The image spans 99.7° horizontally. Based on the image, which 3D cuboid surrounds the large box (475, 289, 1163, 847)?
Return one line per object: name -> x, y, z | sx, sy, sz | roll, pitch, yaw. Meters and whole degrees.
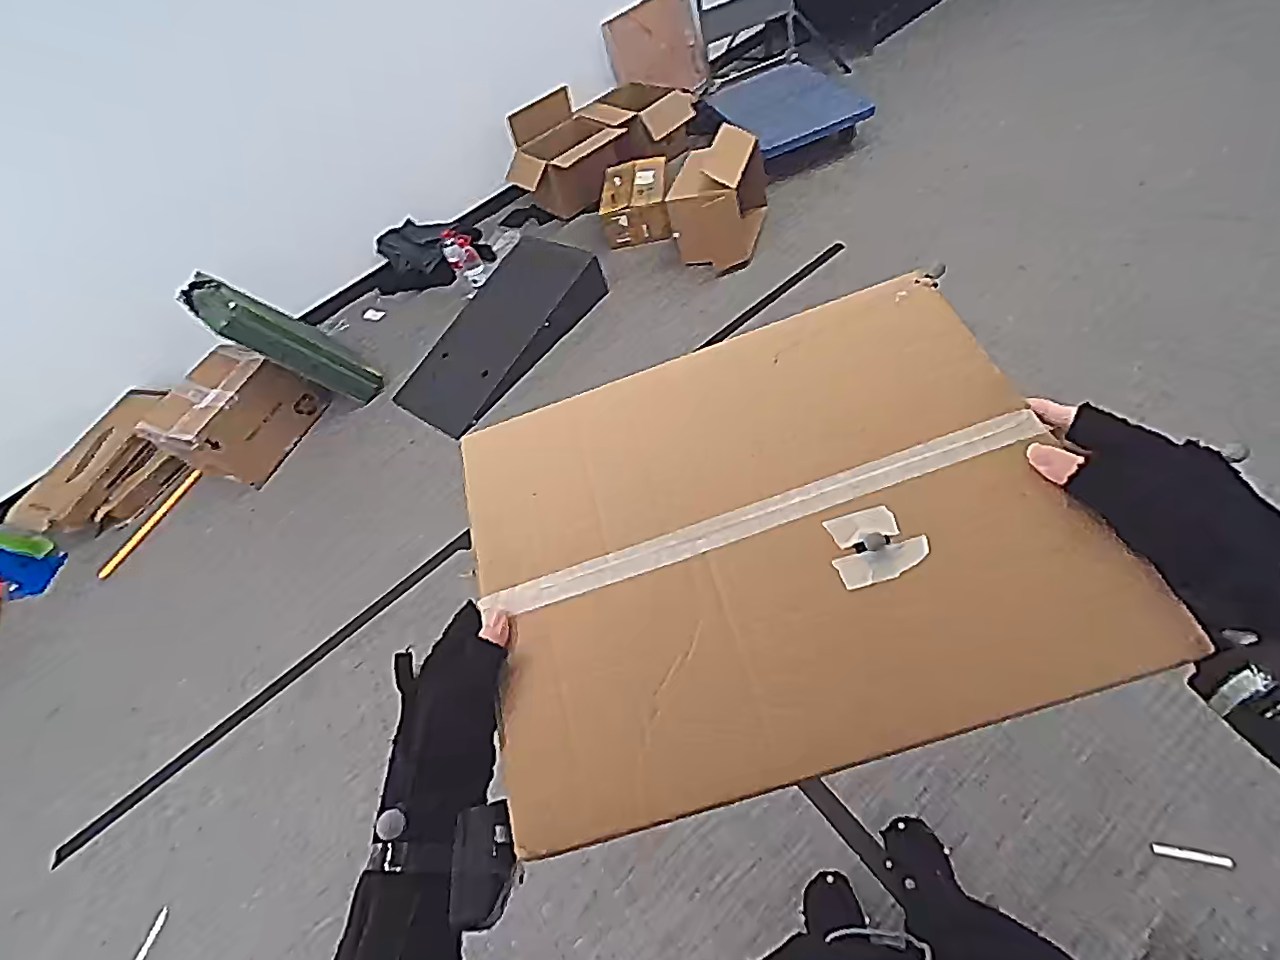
large box -> 0.110, 0.097, 0.525 | 0.408, 0.320, 0.320 | -20, 62, 3
